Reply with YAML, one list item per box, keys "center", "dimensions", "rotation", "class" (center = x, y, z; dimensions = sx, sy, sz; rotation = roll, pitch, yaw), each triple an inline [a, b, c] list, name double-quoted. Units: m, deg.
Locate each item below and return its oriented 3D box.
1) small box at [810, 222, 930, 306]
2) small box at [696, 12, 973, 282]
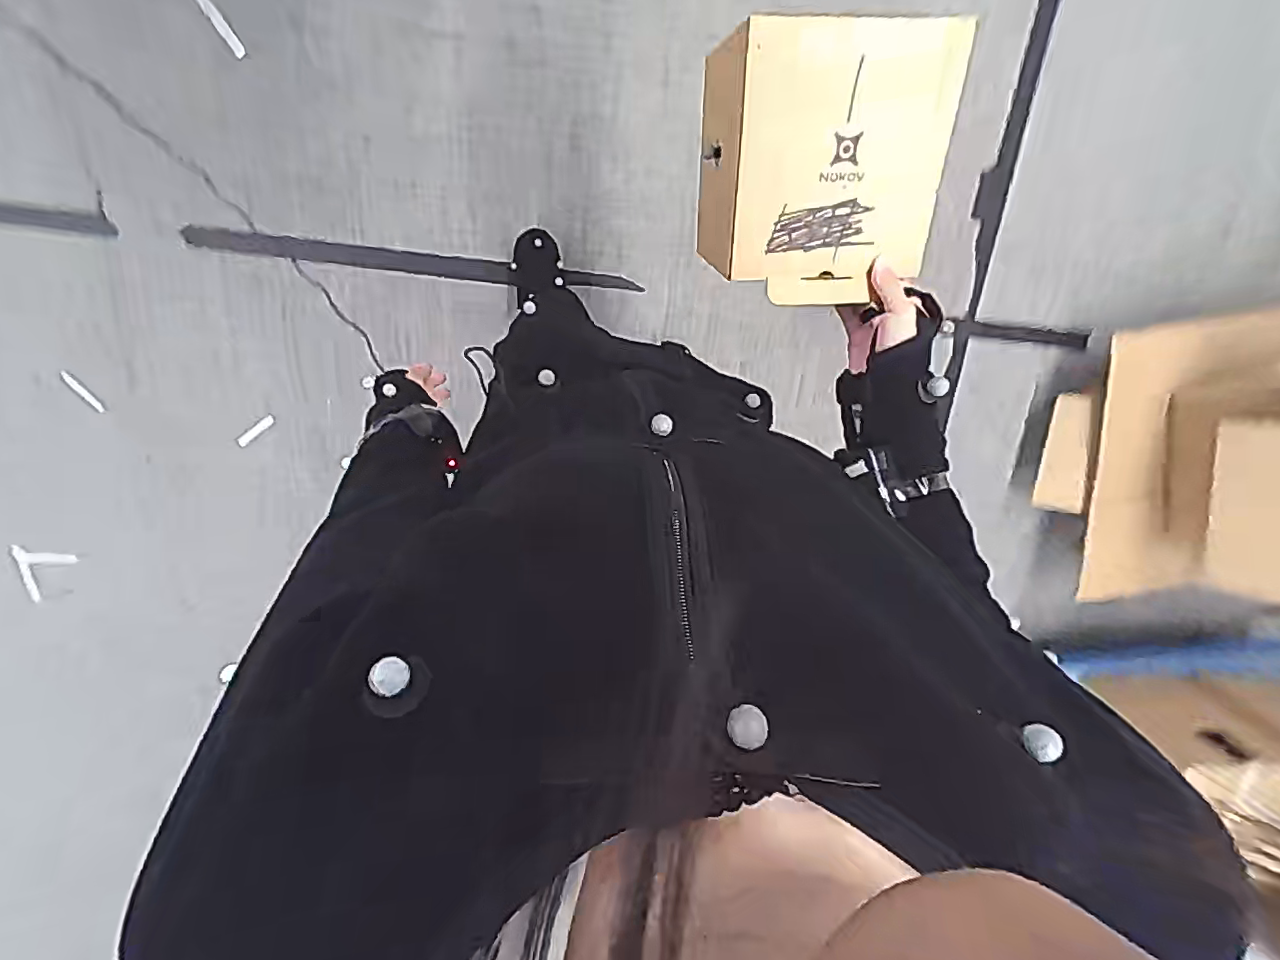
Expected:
- center: [0.508, -0.503, 1.224]
  dimensions: [0.168, 0.176, 0.179]
  rotation: [10, 109, -7]
  class: "small box"
- center: [0.146, -0.283, 0.481]
  dimensions: [0.168, 0.176, 0.179]
  rotation: [-3, 119, -4]
  class: "small box"
